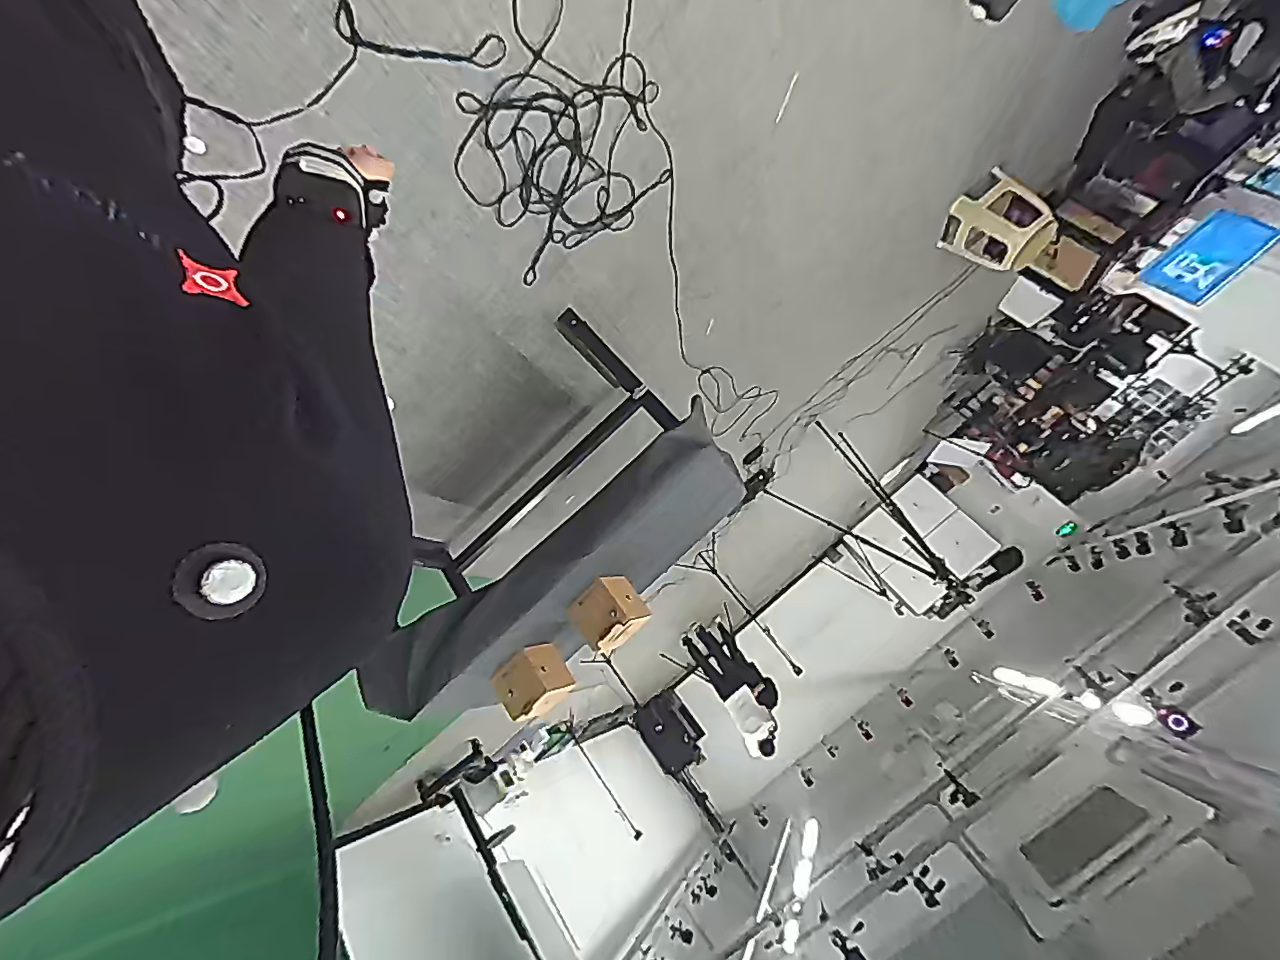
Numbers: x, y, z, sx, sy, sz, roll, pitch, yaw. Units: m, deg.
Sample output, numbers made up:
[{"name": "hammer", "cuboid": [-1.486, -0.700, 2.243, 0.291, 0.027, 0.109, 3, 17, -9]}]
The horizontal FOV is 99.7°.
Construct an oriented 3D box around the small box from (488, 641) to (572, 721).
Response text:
[{"name": "small box", "cuboid": [-0.366, 0.654, 1.783, 0.168, 0.176, 0.179, -44, 157, 12]}]
